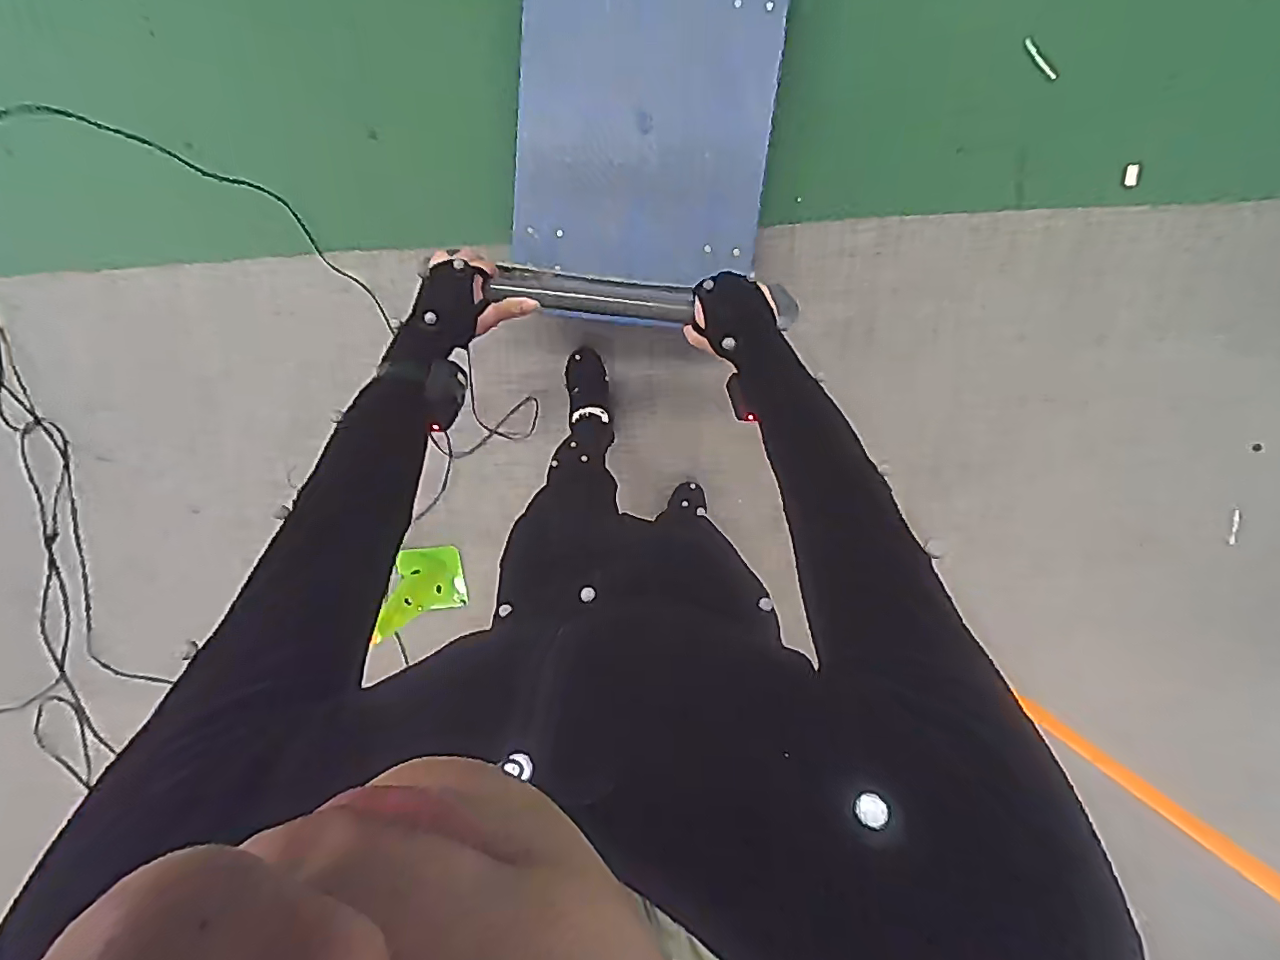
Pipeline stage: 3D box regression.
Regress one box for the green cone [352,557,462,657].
[{"bbox_3d":[-0.662,0.369,1.479,0.202,0.368,0.200,-6,102,5],"label":"green cone"}]
